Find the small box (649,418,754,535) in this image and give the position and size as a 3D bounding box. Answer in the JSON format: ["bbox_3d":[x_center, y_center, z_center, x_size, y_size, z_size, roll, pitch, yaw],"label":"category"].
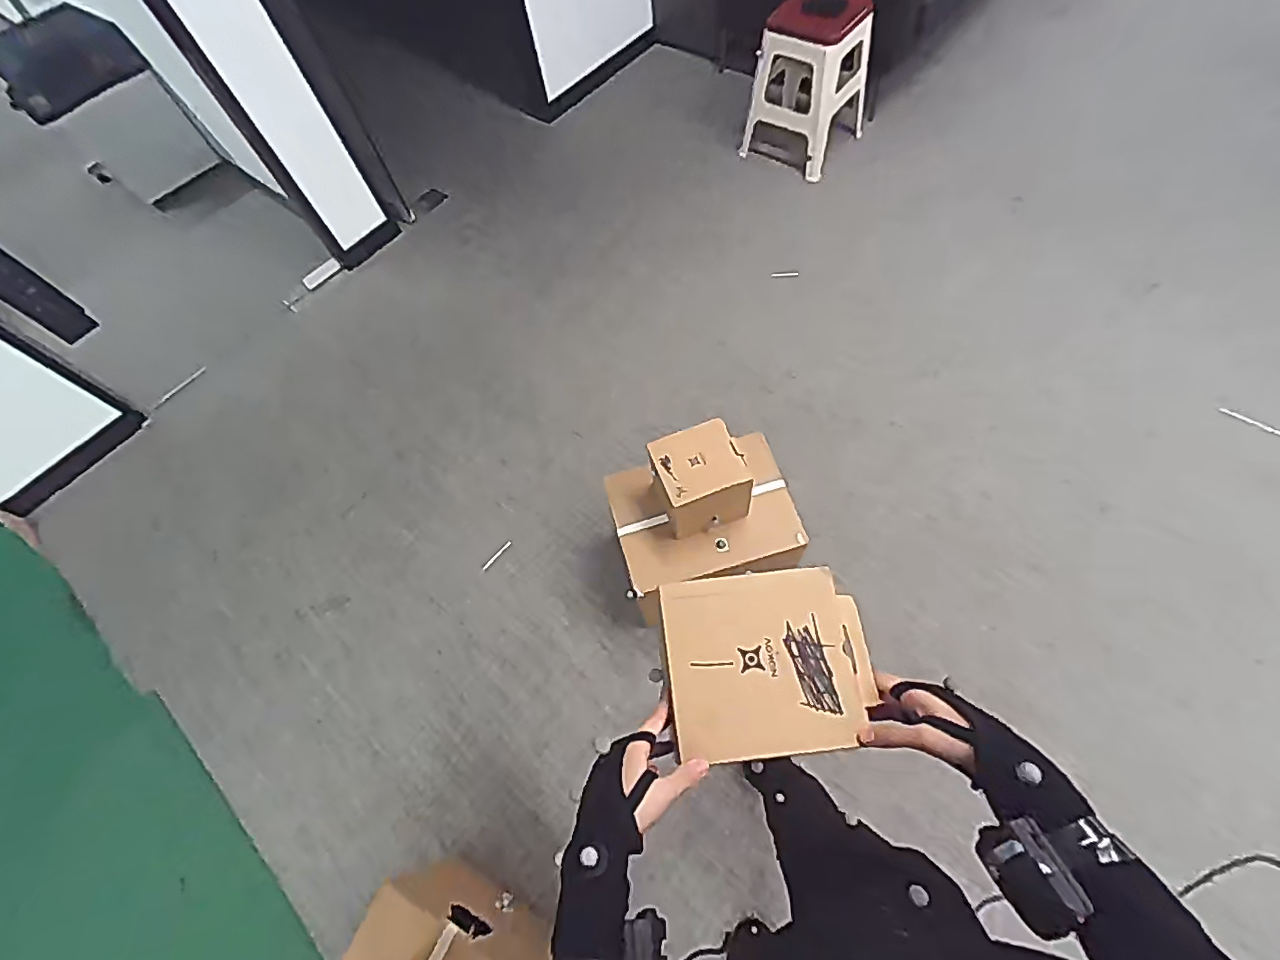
[{"bbox_3d":[0.129,-0.003,1.179,0.179,0.176,0.168,-19,60,-5],"label":"small box"}]

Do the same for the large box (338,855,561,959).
[{"bbox_3d":[-0.395,1.000,0.988,0.320,0.320,0.408,21,68,18],"label":"large box"}]

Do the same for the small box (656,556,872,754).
[{"bbox_3d":[0.113,0.189,0.578,0.179,0.176,0.168,-6,65,-2],"label":"small box"}]
